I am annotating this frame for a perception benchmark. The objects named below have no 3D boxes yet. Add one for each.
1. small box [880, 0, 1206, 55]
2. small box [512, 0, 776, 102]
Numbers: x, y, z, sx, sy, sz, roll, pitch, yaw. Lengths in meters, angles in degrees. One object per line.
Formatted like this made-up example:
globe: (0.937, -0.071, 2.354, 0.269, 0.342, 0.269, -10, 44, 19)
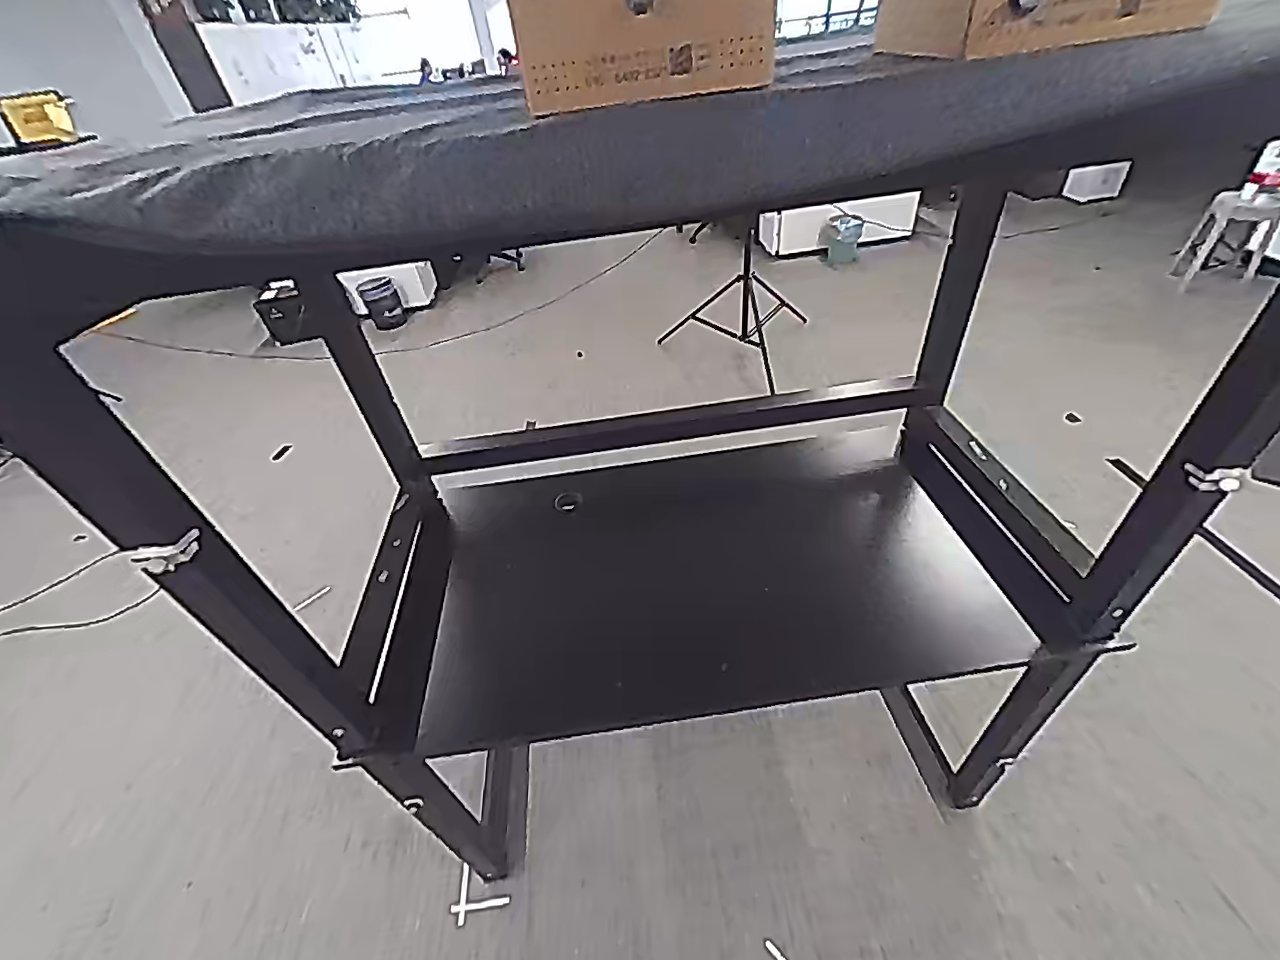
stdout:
small box: (0.290, -0.416, 0.379, 0.168, 0.176, 0.179, -6, 39, 3)
small box: (-0.006, -0.373, 0.373, 0.168, 0.176, 0.179, -8, 38, 1)
